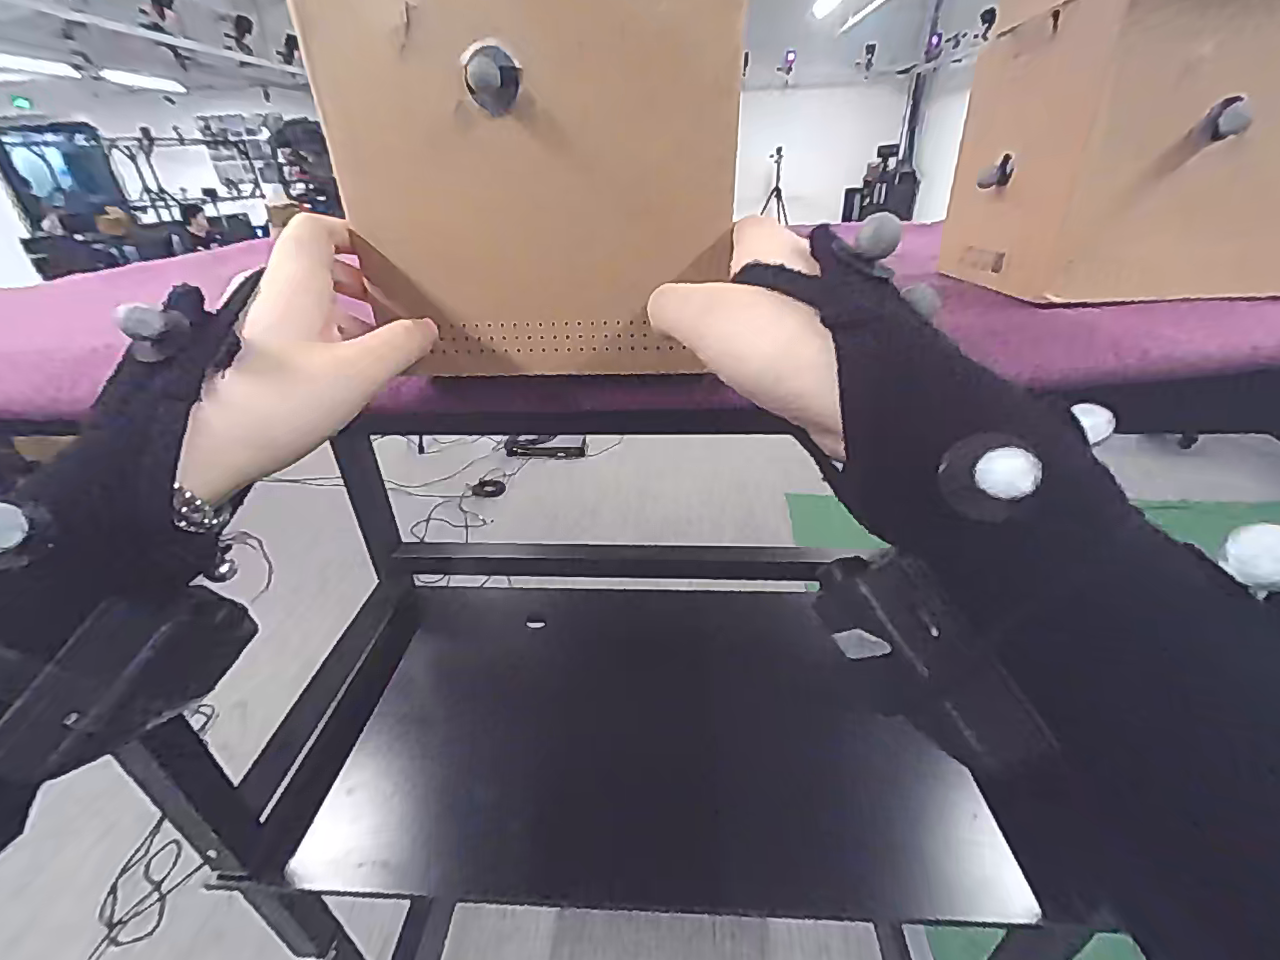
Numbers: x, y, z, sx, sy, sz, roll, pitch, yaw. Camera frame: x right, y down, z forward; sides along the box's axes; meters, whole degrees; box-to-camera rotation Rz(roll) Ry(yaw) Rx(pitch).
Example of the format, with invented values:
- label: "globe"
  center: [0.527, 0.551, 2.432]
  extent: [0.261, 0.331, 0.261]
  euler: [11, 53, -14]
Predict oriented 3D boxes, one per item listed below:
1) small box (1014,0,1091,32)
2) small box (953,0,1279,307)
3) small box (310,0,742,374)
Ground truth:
- label: "small box"
  center: [0.337, -0.359, 0.289]
  extent: [0.179, 0.176, 0.168]
  euler: [0, 28, 4]
- label: "small box"
  center: [0.345, -0.221, 0.377]
  extent: [0.179, 0.176, 0.168]
  euler: [-1, 29, 5]
- label: "small box"
  center: [-0.040, -0.165, 0.306]
  extent: [0.179, 0.176, 0.168]
  euler: [1, 31, 3]
